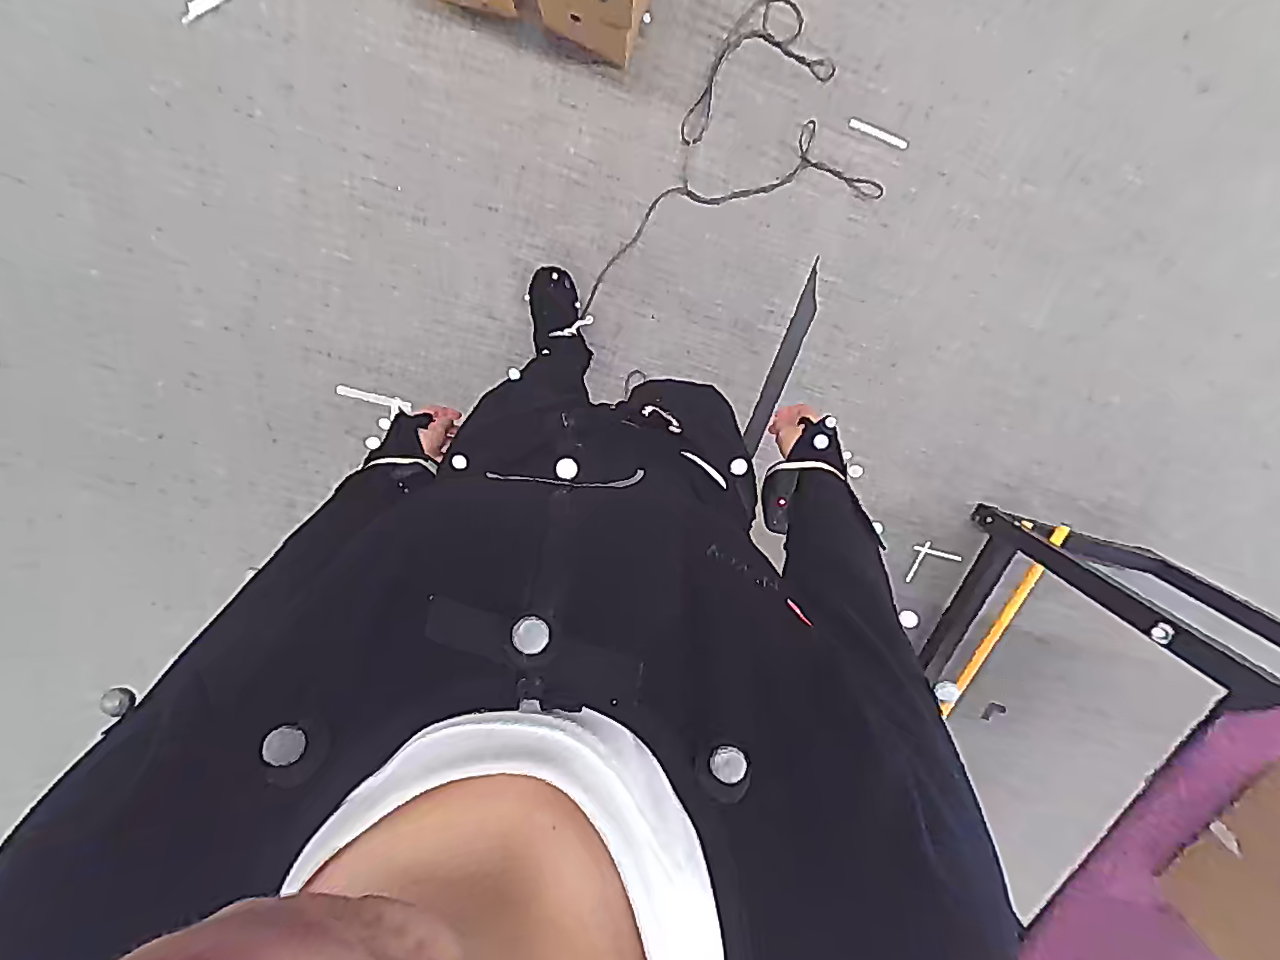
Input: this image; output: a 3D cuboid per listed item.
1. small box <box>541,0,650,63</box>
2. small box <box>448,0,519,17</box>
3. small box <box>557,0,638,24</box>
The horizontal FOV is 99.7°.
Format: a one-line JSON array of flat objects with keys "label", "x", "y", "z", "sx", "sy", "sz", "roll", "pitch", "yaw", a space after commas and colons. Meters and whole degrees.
[{"label": "small box", "x": -0.075, "y": -0.898, "z": 0.971, "sx": 0.179, "sy": 0.176, "sz": 0.168, "roll": 21, "pitch": 108, "yaw": -11}, {"label": "small box", "x": -0.297, "y": -0.963, "z": 0.938, "sx": 0.168, "sy": 0.176, "sz": 0.179, "roll": 9, "pitch": 110, "yaw": -7}, {"label": "small box", "x": -0.069, "y": -0.840, "z": 0.817, "sx": 0.179, "sy": 0.176, "sz": 0.168, "roll": 16, "pitch": 109, "yaw": -8}]
